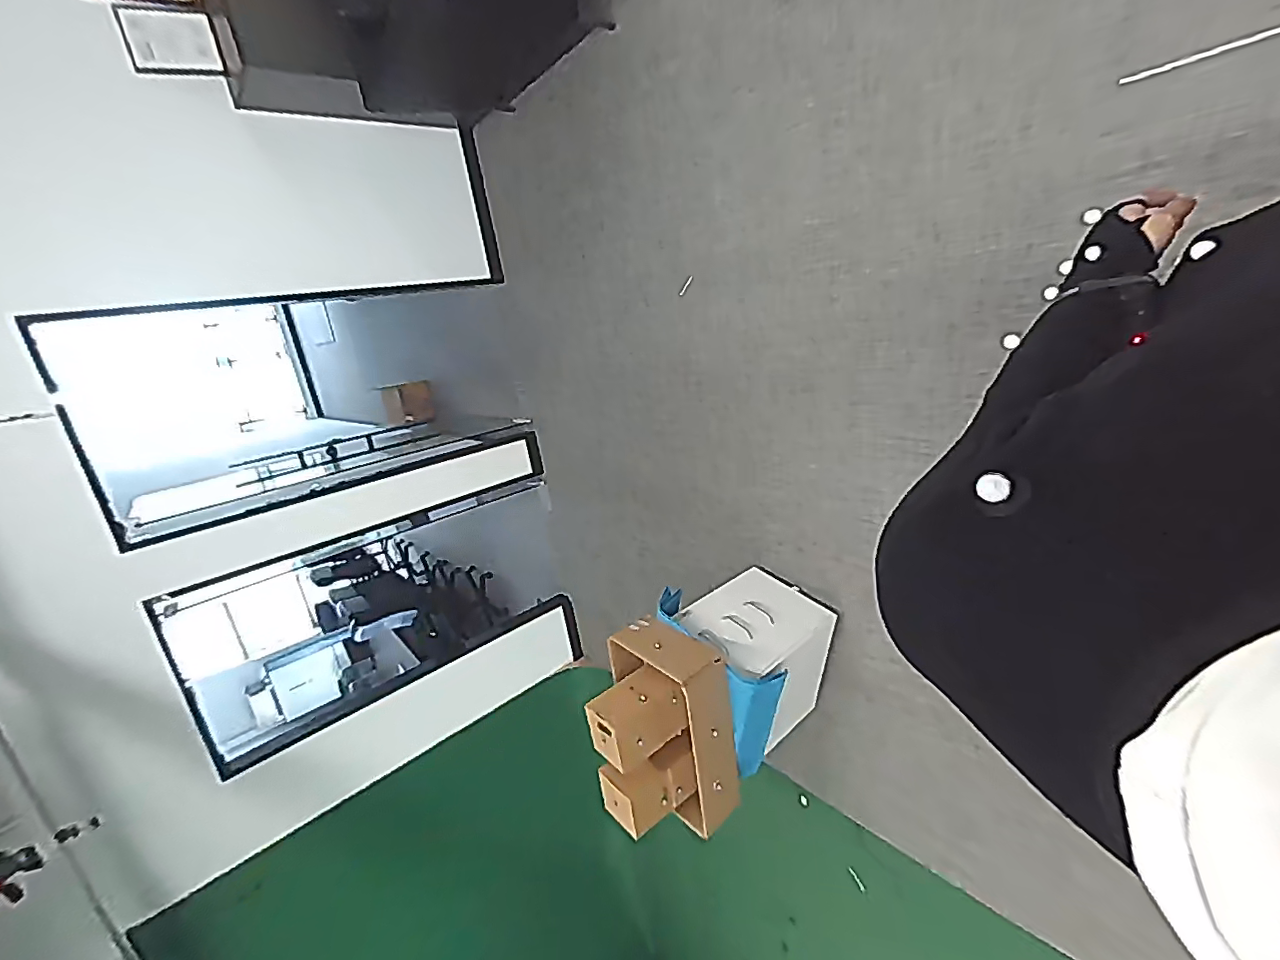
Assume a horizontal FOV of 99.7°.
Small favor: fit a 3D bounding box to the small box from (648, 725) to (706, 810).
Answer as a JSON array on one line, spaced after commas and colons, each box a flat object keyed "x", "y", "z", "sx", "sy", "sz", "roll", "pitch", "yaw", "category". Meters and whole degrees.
[{"x": 0.108, "y": 0.987, "z": 1.880, "sx": 0.179, "sy": 0.176, "sz": 0.168, "roll": 14, "pitch": 116, "yaw": 51, "category": "small box"}]

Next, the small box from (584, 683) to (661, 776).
[{"x": -0.052, "y": 0.779, "z": 1.711, "sx": 0.168, "sy": 0.176, "sz": 0.179, "roll": 13, "pitch": 117, "yaw": 51, "category": "small box"}]

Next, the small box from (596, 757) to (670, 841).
[{"x": -0.022, "y": 1.030, "z": 1.791, "sx": 0.179, "sy": 0.176, "sz": 0.168, "roll": 13, "pitch": 115, "yaw": 50, "category": "small box"}]
